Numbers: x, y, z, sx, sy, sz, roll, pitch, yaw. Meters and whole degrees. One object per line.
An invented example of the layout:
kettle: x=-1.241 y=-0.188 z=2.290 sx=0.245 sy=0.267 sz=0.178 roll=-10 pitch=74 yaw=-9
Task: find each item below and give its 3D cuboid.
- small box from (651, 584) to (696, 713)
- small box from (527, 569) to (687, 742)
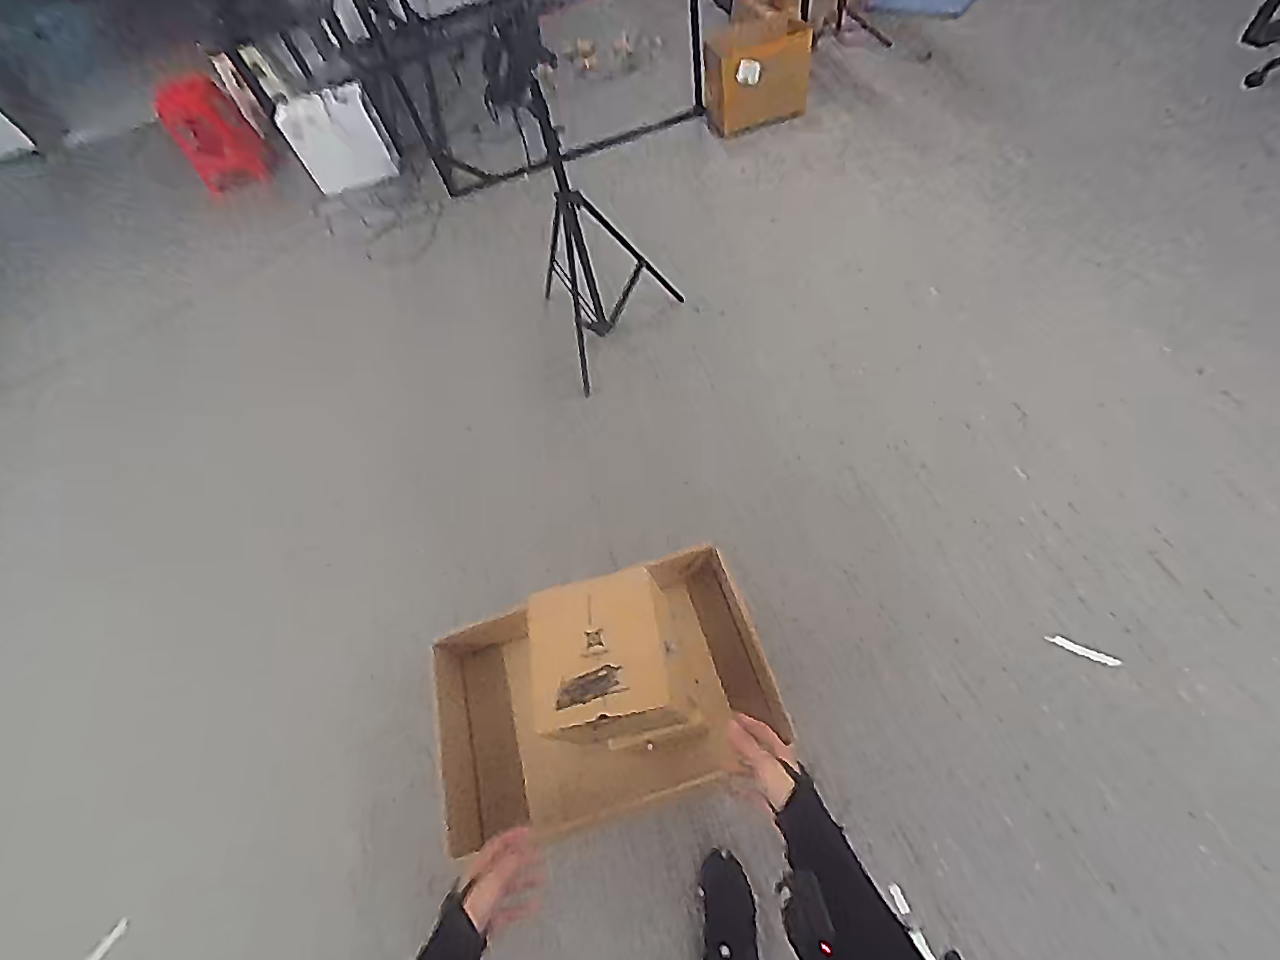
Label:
small box: x=-0.016 y=0.296 z=0.880 sx=0.168 sy=0.176 sz=0.179 roll=-19 pitch=59 yaw=3
small box: x=-0.039 y=0.243 z=0.722 sx=0.168 sy=0.176 sz=0.179 roll=-14 pitch=58 yaw=6
